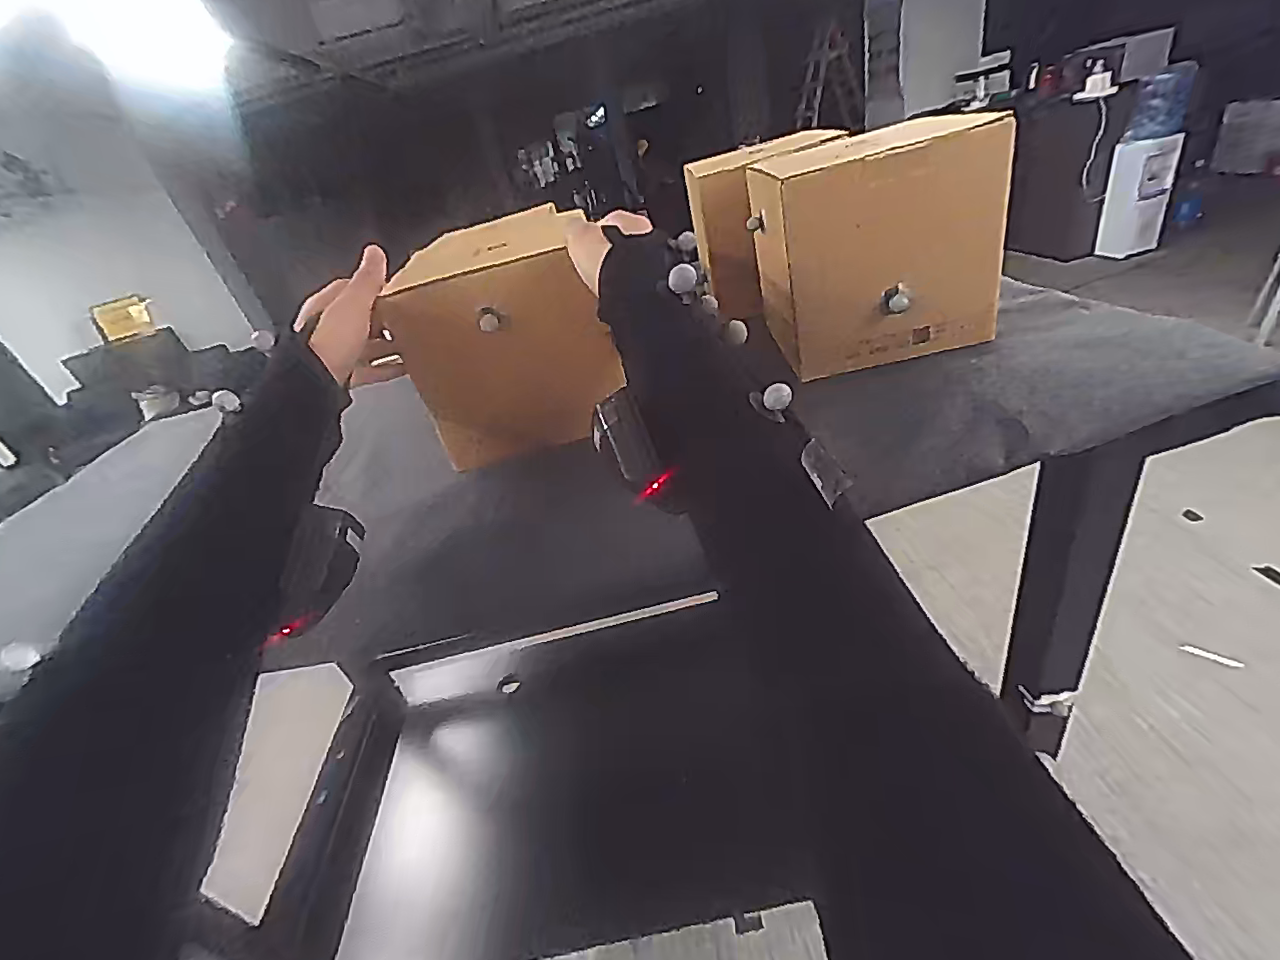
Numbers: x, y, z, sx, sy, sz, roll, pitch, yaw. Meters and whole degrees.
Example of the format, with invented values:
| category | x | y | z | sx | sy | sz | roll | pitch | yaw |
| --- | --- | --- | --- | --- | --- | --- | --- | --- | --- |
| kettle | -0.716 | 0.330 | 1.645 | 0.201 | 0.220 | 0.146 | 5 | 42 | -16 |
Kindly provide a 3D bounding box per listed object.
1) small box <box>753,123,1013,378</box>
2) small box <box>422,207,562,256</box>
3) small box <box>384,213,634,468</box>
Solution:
| category | x | y | z | sx | sy | sz | roll | pitch | yaw |
| --- | --- | --- | --- | --- | --- | --- | --- | --- | --- |
| small box | 0.207 | -0.214 | 0.507 | 0.168 | 0.176 | 0.179 | -11 | 32 | 9 |
| small box | -0.167 | -0.258 | 0.744 | 0.168 | 0.176 | 0.179 | -15 | 32 | 3 |
| small box | -0.108 | -0.136 | 0.524 | 0.179 | 0.176 | 0.168 | -15 | 35 | 0 |
